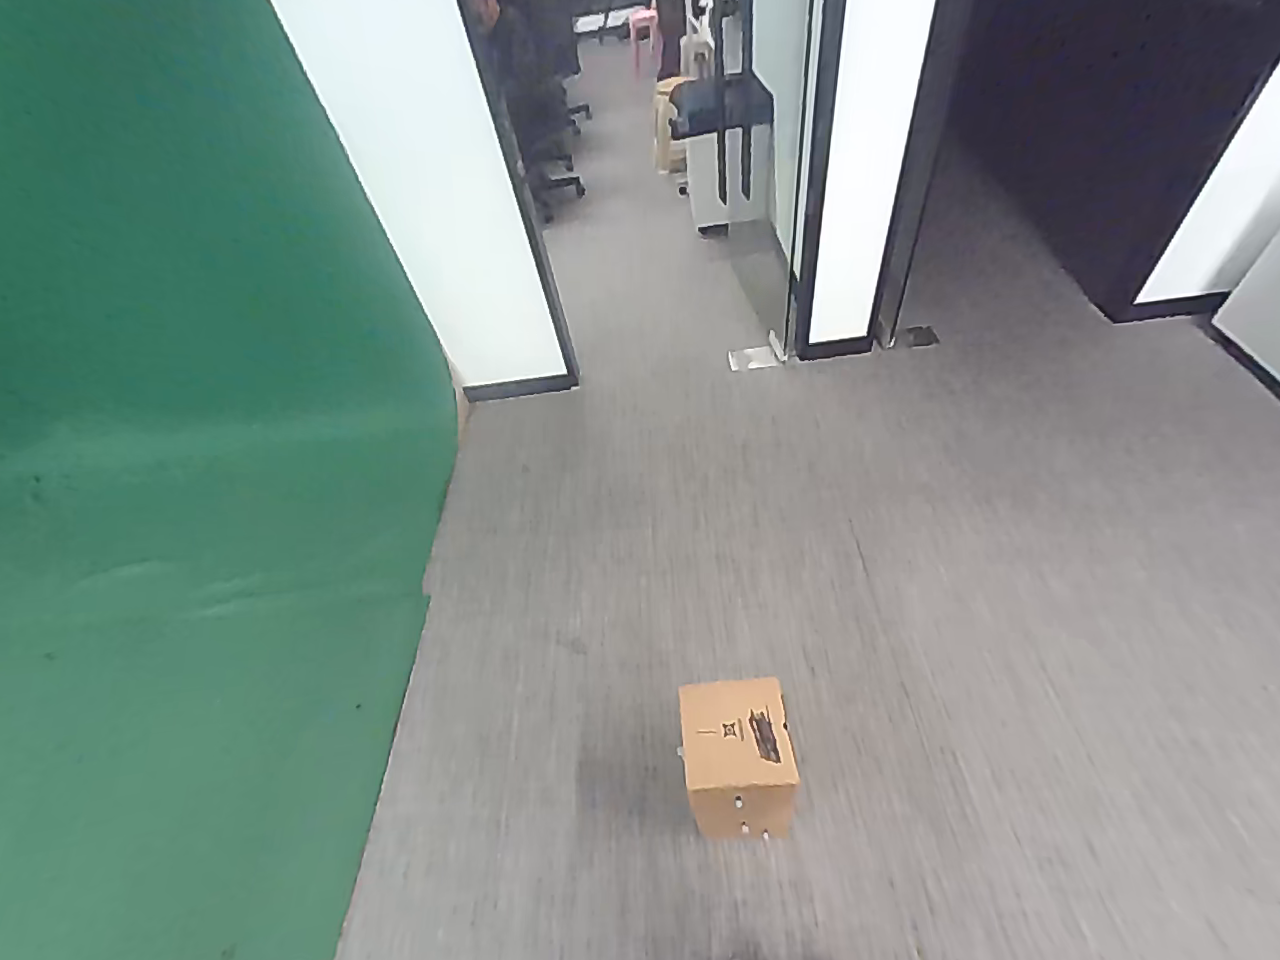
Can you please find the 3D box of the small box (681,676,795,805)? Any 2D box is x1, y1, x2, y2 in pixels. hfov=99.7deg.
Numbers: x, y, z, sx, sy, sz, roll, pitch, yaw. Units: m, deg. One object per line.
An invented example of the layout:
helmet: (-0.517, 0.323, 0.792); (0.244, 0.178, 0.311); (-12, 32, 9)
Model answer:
small box: (0.165, 0.456, 0.946); (0.179, 0.176, 0.168); (-4, 47, 7)

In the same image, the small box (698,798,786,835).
small box: (0.216, 0.671, 1.192); (0.179, 0.176, 0.168); (-8, 48, 6)
